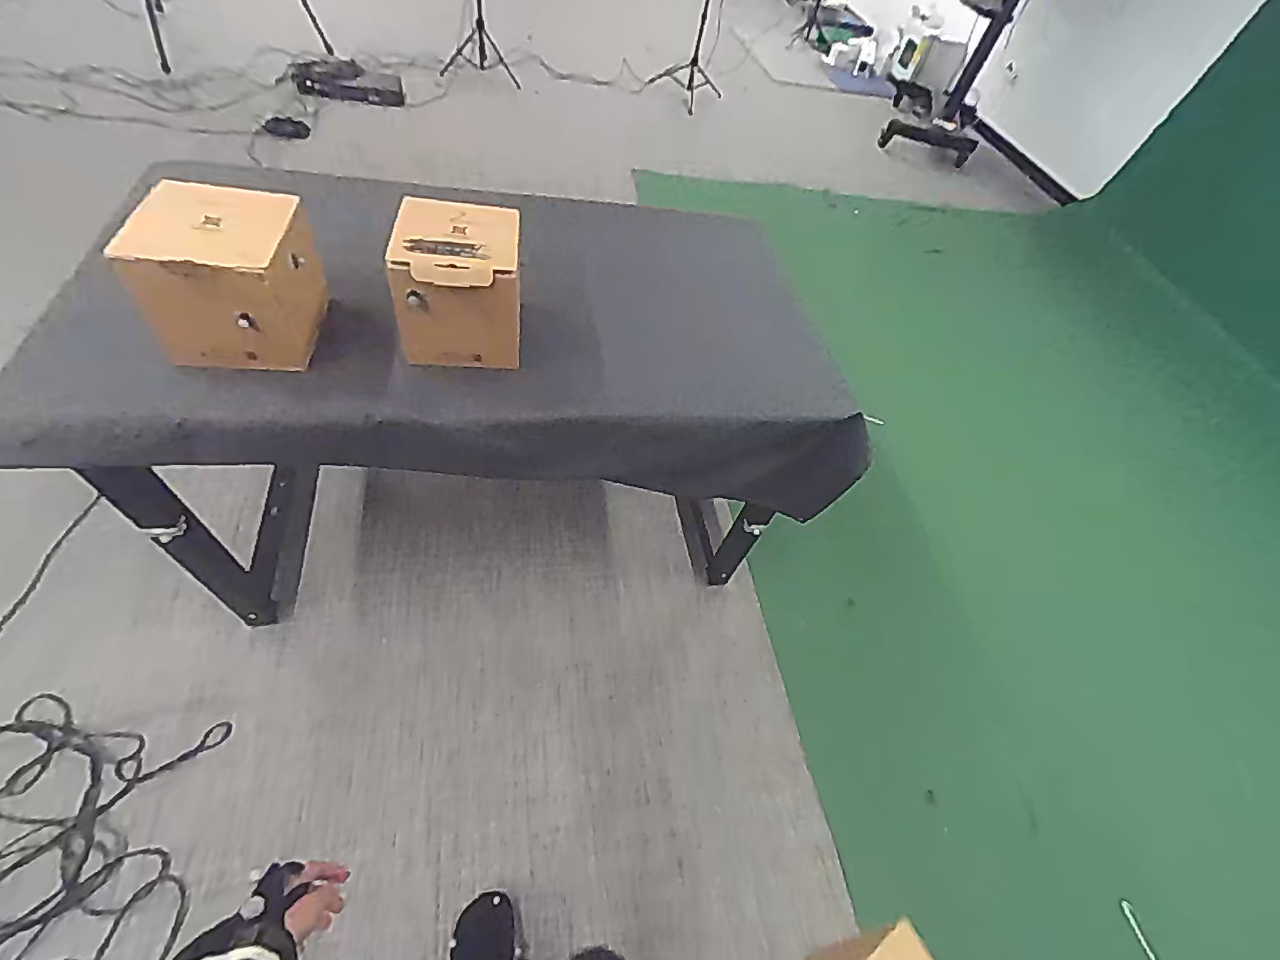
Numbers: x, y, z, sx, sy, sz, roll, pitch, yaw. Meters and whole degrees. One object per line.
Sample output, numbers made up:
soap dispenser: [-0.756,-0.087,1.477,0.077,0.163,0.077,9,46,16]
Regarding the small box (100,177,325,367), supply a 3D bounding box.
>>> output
small box: [-0.548,-0.272,0.729,0.168,0.176,0.179,1,53,-14]
